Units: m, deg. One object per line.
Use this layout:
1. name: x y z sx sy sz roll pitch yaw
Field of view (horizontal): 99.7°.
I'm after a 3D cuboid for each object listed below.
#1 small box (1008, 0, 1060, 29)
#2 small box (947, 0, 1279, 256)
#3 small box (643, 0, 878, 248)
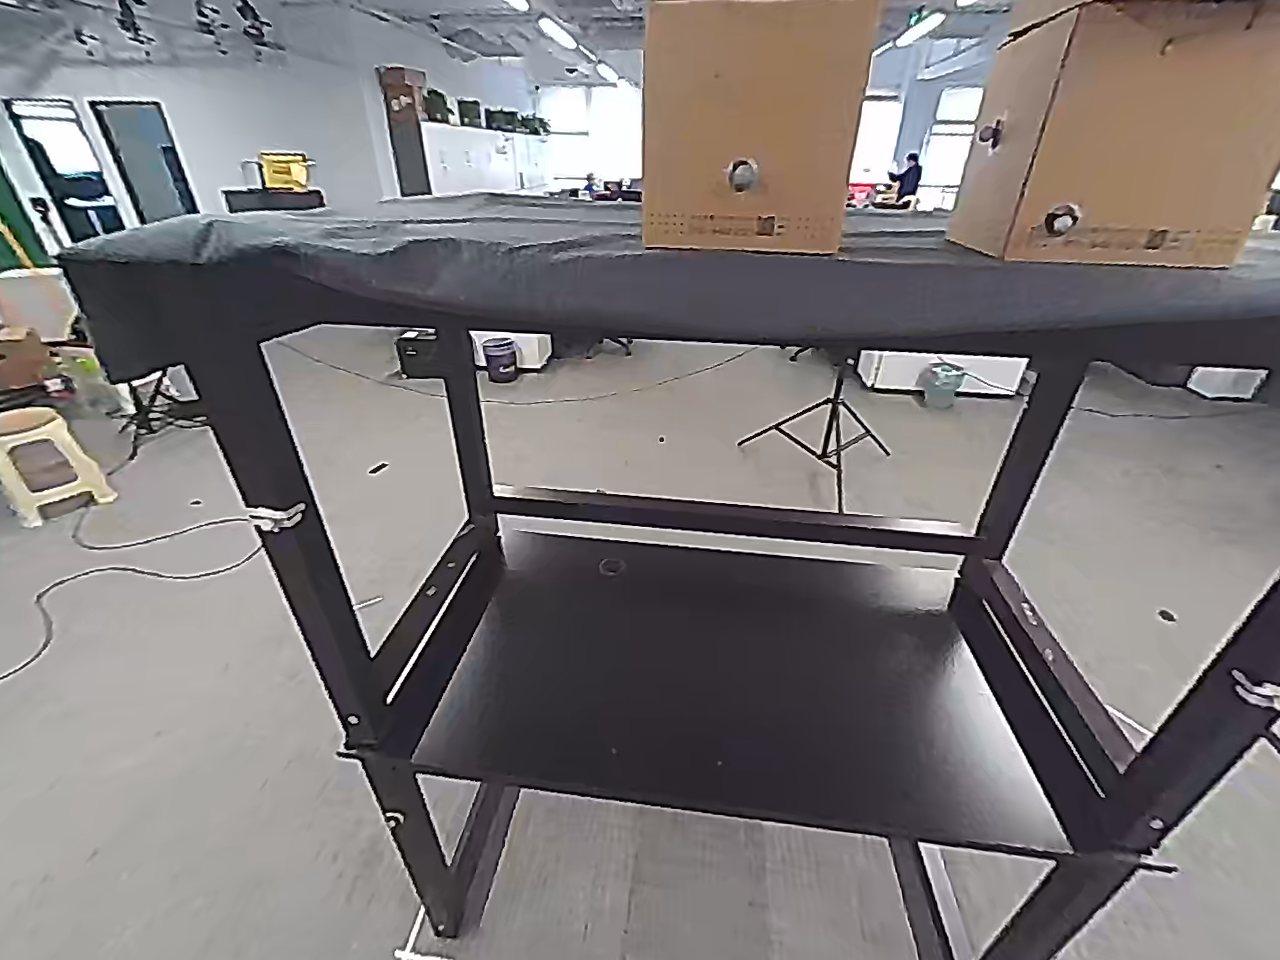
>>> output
1. small box: 0.389 -0.415 0.353 0.168 0.176 0.179 4 29 3
2. small box: 0.392 -0.290 0.462 0.168 0.176 0.179 6 29 9
3. small box: 0.094 -0.311 0.487 0.168 0.176 0.179 4 29 7
